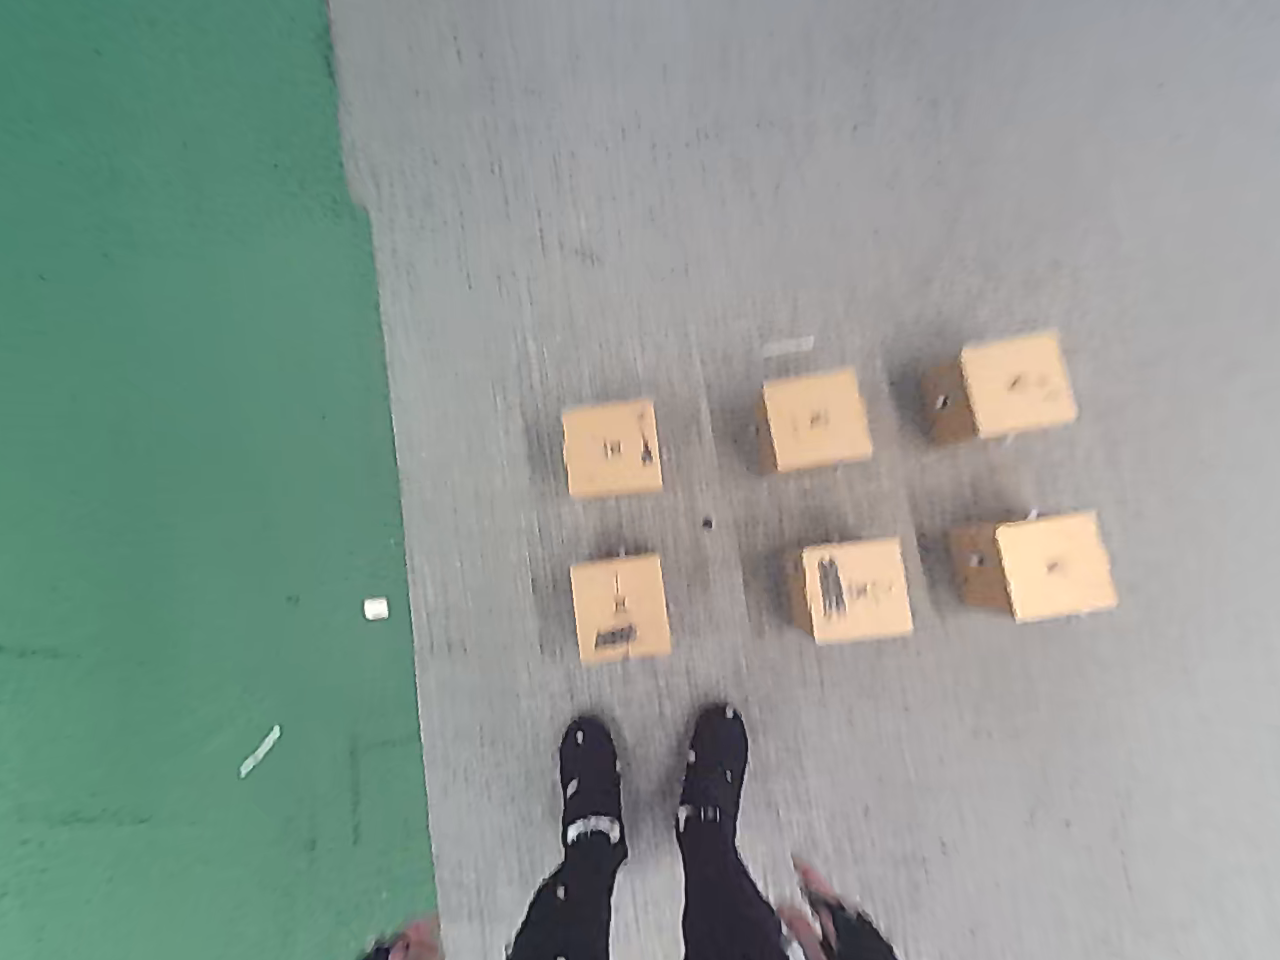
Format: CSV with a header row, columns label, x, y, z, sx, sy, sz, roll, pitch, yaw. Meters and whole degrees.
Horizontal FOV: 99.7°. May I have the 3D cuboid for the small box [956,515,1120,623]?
label,x,y,z,sx,sy,sz,roll,pitch,yaw
small box,0.727,0.165,1.015,0.179,0.176,0.168,-10,83,1

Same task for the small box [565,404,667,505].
label,x,y,z,sx,sy,sz,roll,pitch,yaw
small box,-0.042,-0.044,1.074,0.179,0.176,0.168,-6,83,3

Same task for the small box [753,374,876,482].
label,x,y,z,sx,sy,sz,roll,pitch,yaw
small box,0.332,-0.095,1.062,0.179,0.176,0.168,-9,82,2

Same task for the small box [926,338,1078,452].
label,x,y,z,sx,sy,sz,roll,pitch,yaw
small box,0.684,-0.156,1.050,0.179,0.176,0.168,-10,84,1

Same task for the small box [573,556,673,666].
label,x,y,z,sx,sy,sz,roll,pitch,yaw
small box,-0.026,0.244,1.040,0.168,0.176,0.179,-7,82,2
